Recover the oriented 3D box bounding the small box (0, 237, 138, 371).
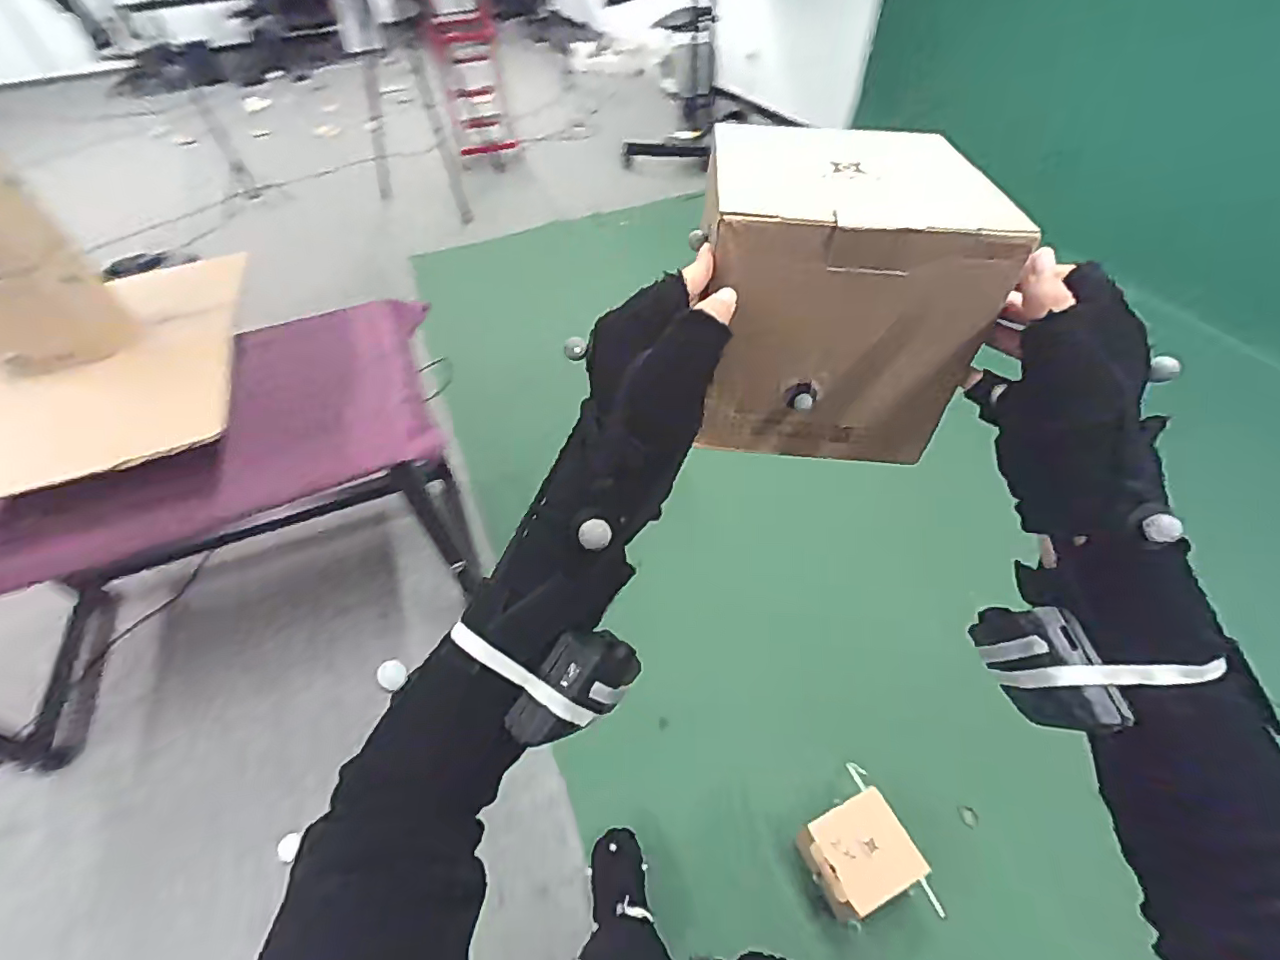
[{"bbox_3d":[-1.095,-0.320,1.003,0.168,0.176,0.179,-18,47,-12],"label":"small box"}]

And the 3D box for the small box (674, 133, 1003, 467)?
[{"bbox_3d":[0.114,-0.134,0.402,0.168,0.176,0.179,4,47,1],"label":"small box"}]

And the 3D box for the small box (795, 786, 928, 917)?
[{"bbox_3d":[0.451,0.779,1.134,0.179,0.176,0.168,-20,51,-14],"label":"small box"}]
